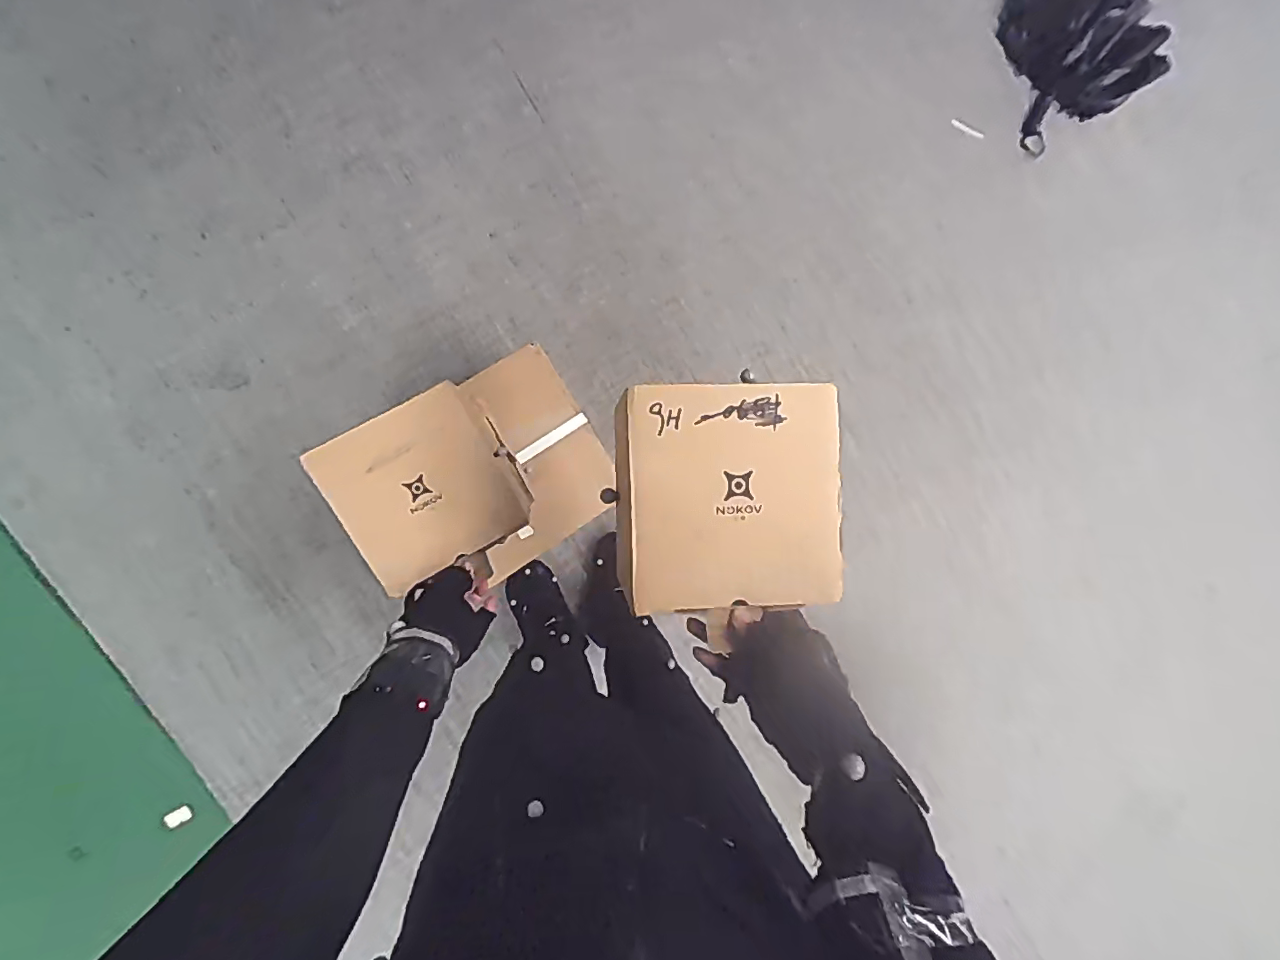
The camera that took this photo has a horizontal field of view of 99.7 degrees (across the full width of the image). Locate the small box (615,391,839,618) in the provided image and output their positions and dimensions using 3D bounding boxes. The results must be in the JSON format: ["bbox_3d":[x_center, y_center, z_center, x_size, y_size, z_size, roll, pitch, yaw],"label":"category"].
[{"bbox_3d":[0.066,0.016,0.499,0.168,0.176,0.179,-1,91,-7],"label":"small box"}]

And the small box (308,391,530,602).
[{"bbox_3d":[-0.243,0.011,0.648,0.168,0.176,0.179,-30,99,-8],"label":"small box"}]

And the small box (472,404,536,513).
[{"bbox_3d":[-0.270,-0.002,0.805,0.179,0.176,0.168,-26,99,-9],"label":"small box"}]
